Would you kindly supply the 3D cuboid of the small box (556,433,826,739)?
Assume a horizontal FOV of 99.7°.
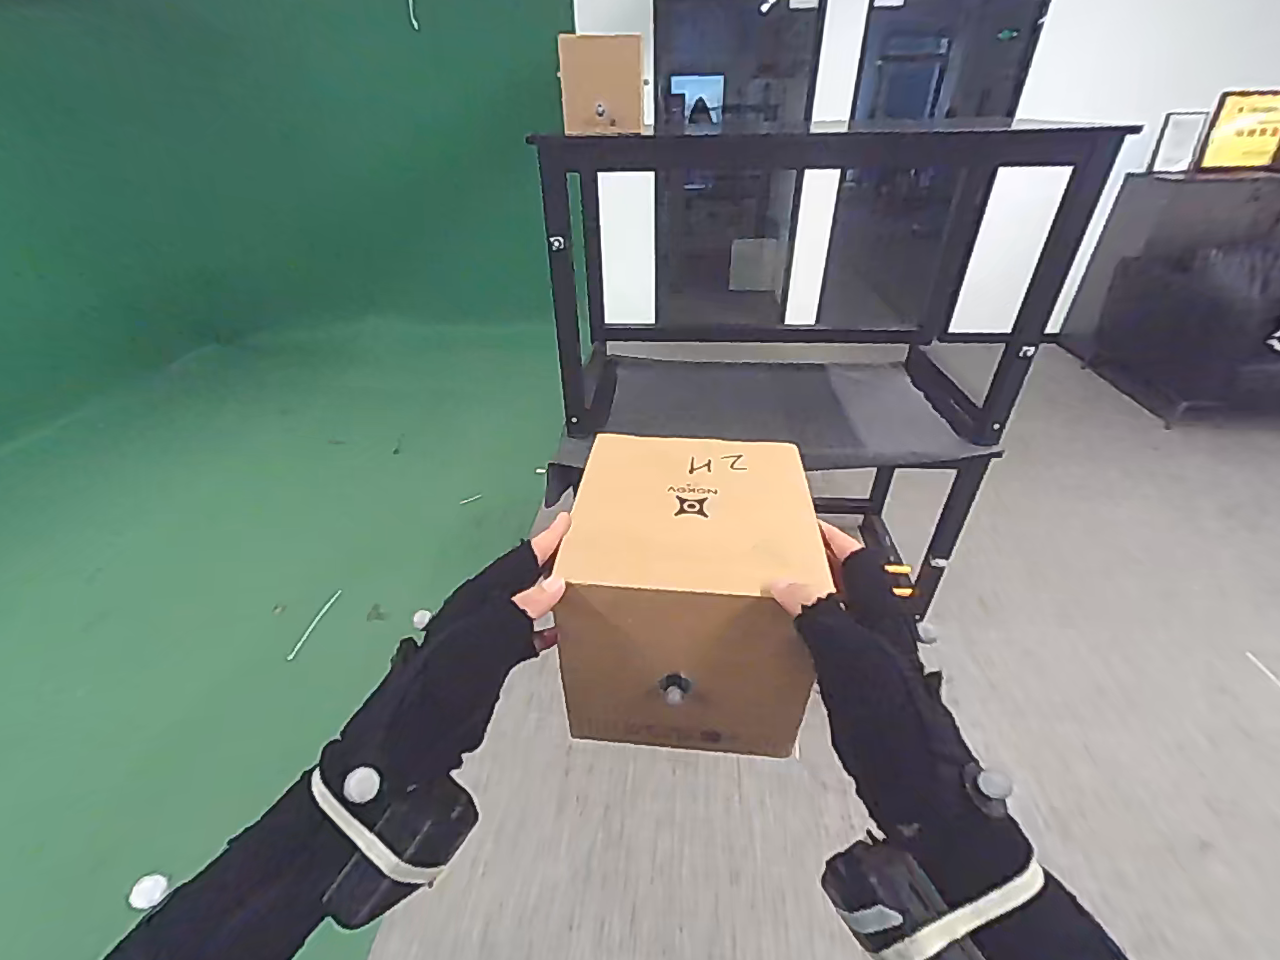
[{"bbox_3d":[0.038,0.079,0.433,0.168,0.176,0.179,4,34,5],"label":"small box"}]
